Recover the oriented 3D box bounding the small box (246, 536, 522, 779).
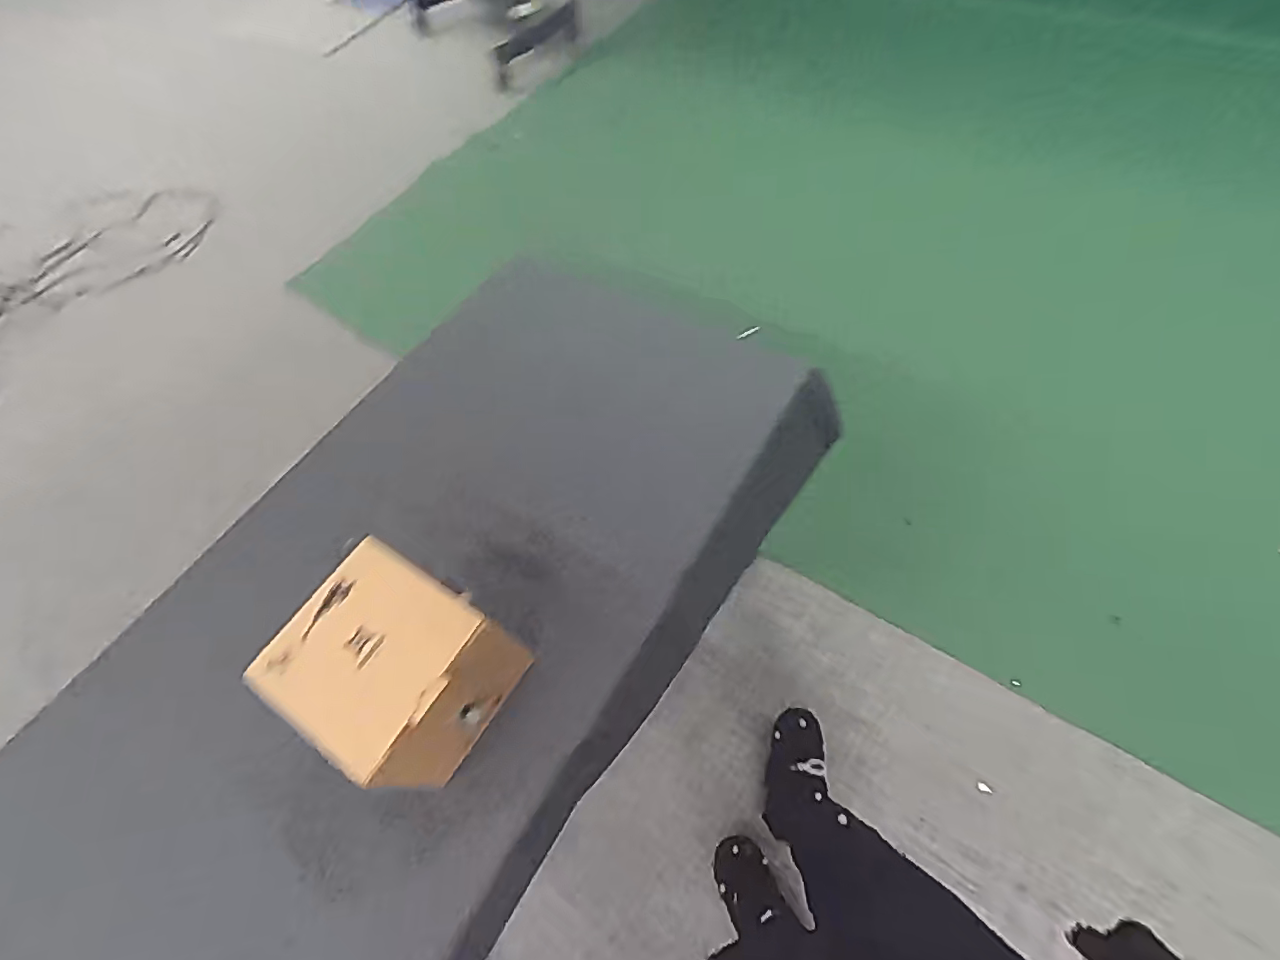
[{"bbox_3d":[-0.257,0.195,0.589,0.179,0.176,0.168,28,68,20],"label":"small box"}]
